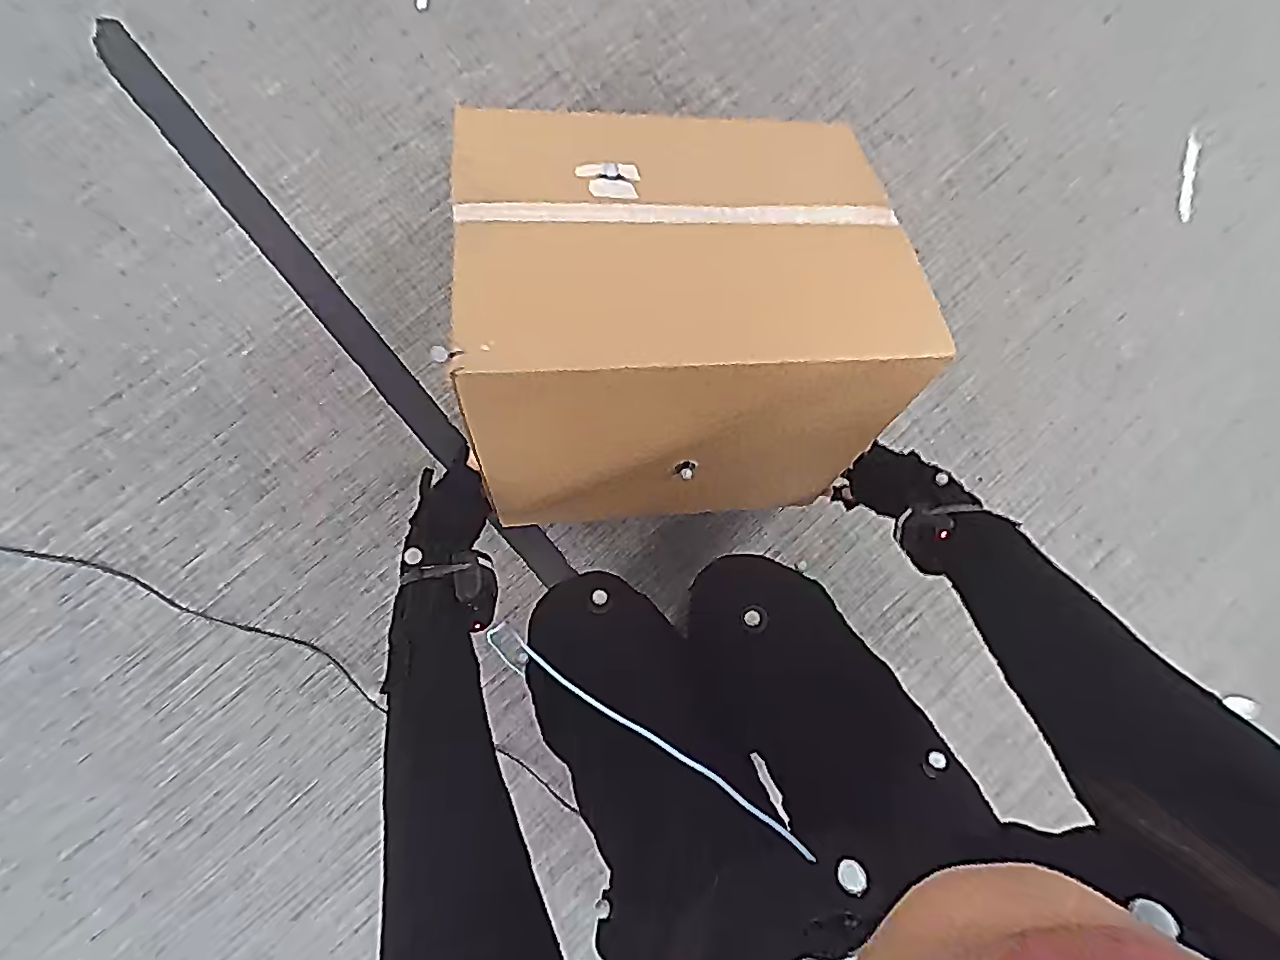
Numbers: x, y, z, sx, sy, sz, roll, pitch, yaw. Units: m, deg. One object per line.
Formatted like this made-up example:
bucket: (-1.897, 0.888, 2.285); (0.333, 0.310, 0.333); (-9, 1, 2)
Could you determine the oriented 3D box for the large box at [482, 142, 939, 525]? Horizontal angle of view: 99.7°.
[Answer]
large box: (0.040, -0.155, 0.649); (0.408, 0.320, 0.320); (-4, 63, -10)
